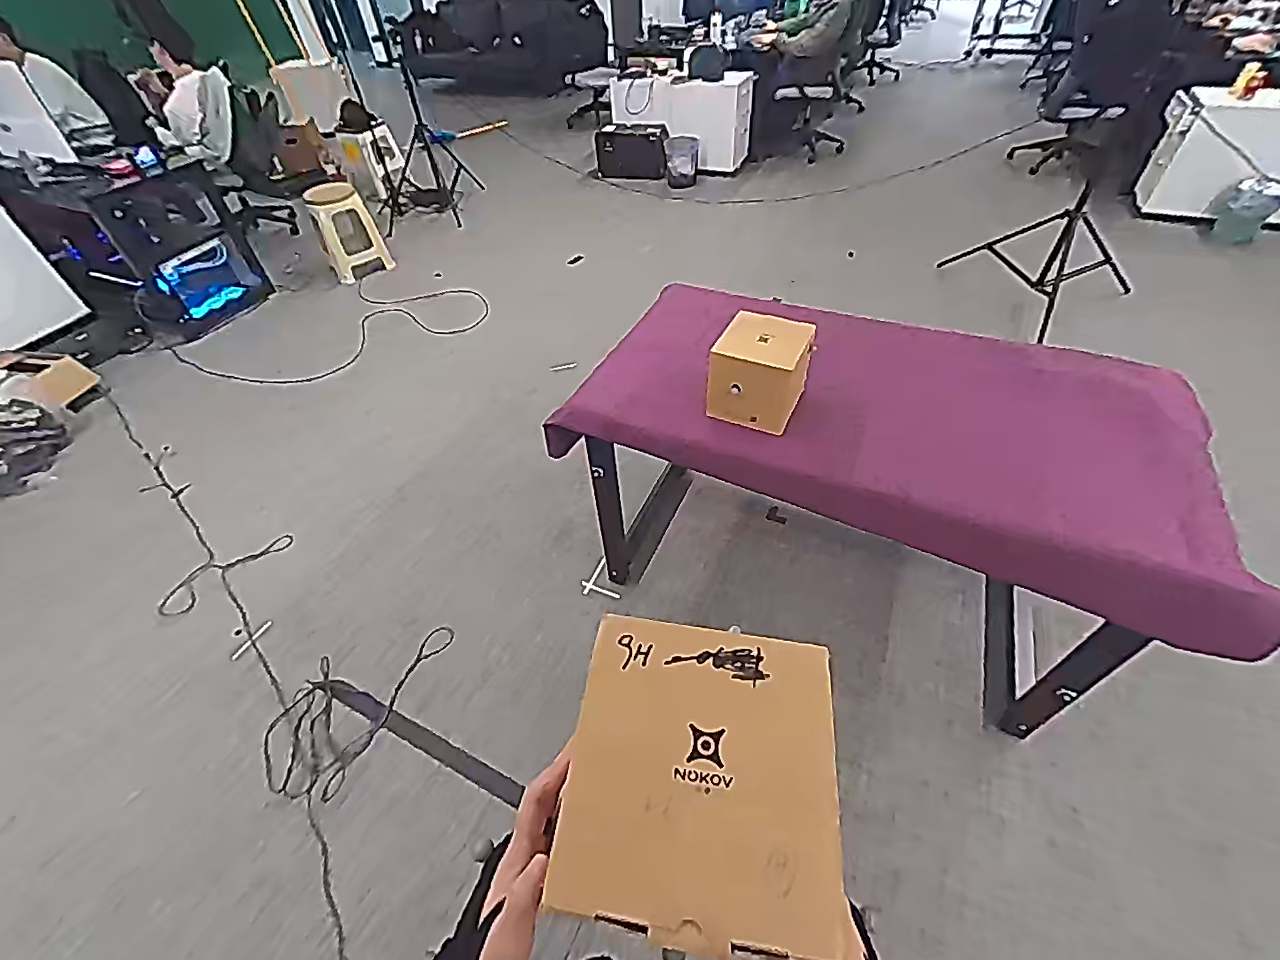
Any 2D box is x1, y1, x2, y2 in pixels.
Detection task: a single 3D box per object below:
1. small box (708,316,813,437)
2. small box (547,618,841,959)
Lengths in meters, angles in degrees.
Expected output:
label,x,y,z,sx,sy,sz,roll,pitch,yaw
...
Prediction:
label,x,y,z,sx,sy,sz,roll,pitch,yaw
small box,0.249,-0.217,1.140,0.168,0.176,0.179,18,49,20
small box,0.041,0.229,0.407,0.168,0.176,0.179,8,52,5
